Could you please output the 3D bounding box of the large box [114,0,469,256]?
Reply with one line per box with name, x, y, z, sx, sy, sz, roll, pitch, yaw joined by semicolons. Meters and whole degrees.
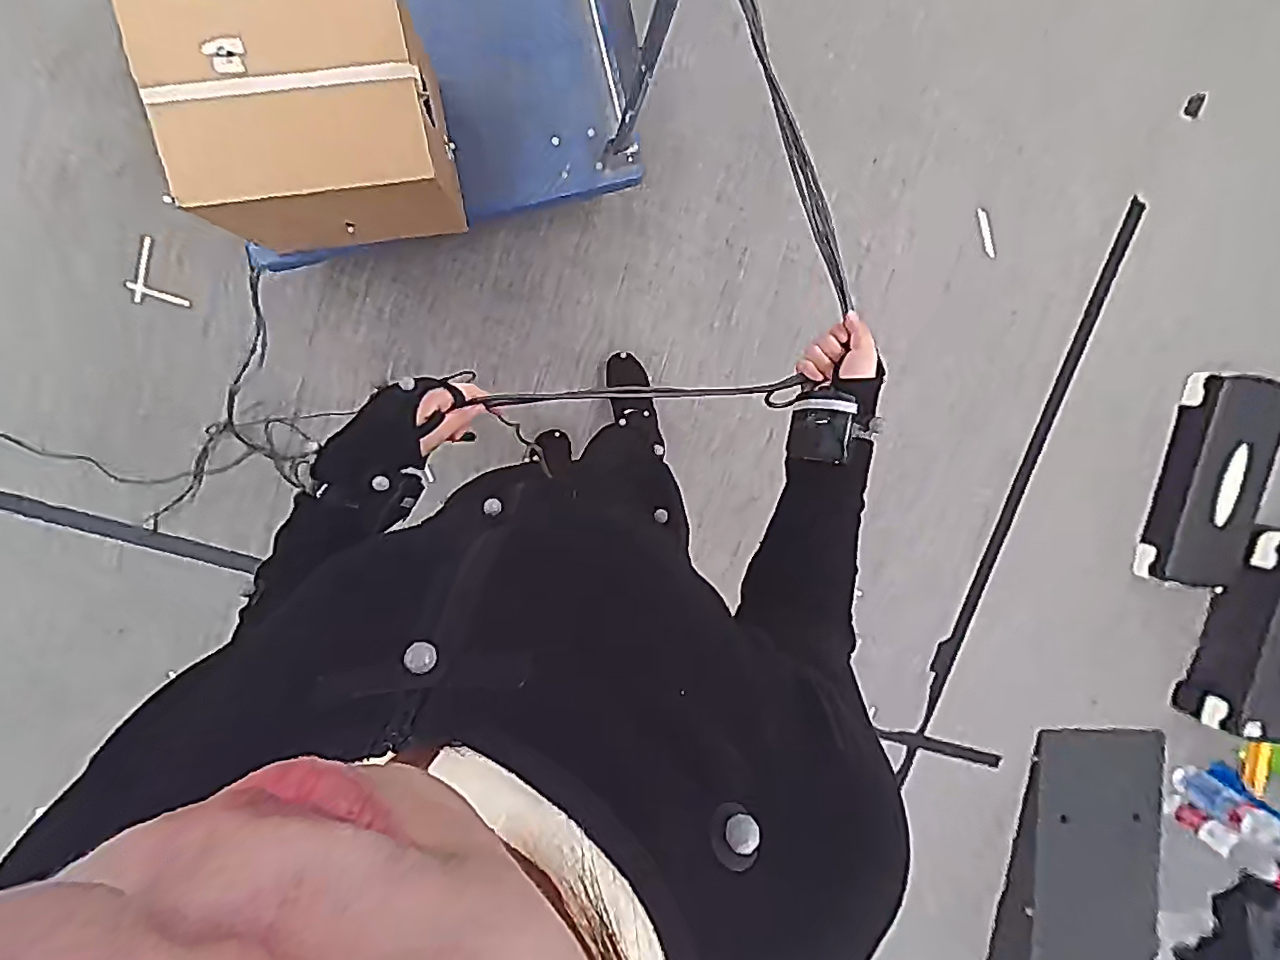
large box;-0.570;-0.625;0.982;0.408;0.320;0.320;-11;100;-5
